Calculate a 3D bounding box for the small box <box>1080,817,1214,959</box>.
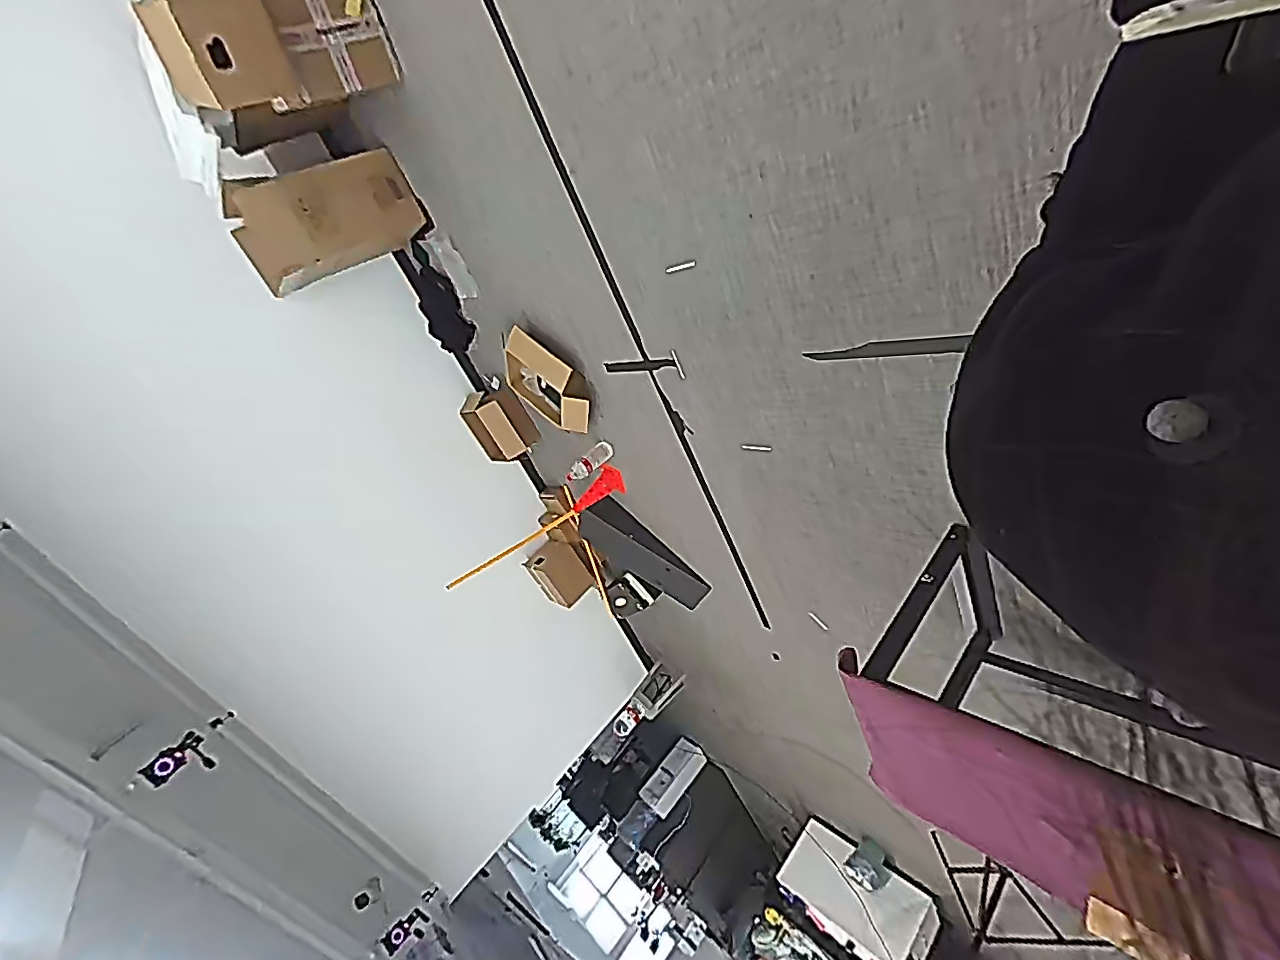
[{"bbox_3d":[0.985,0.812,1.054,0.168,0.176,0.179,11,135,47],"label":"small box"}]
